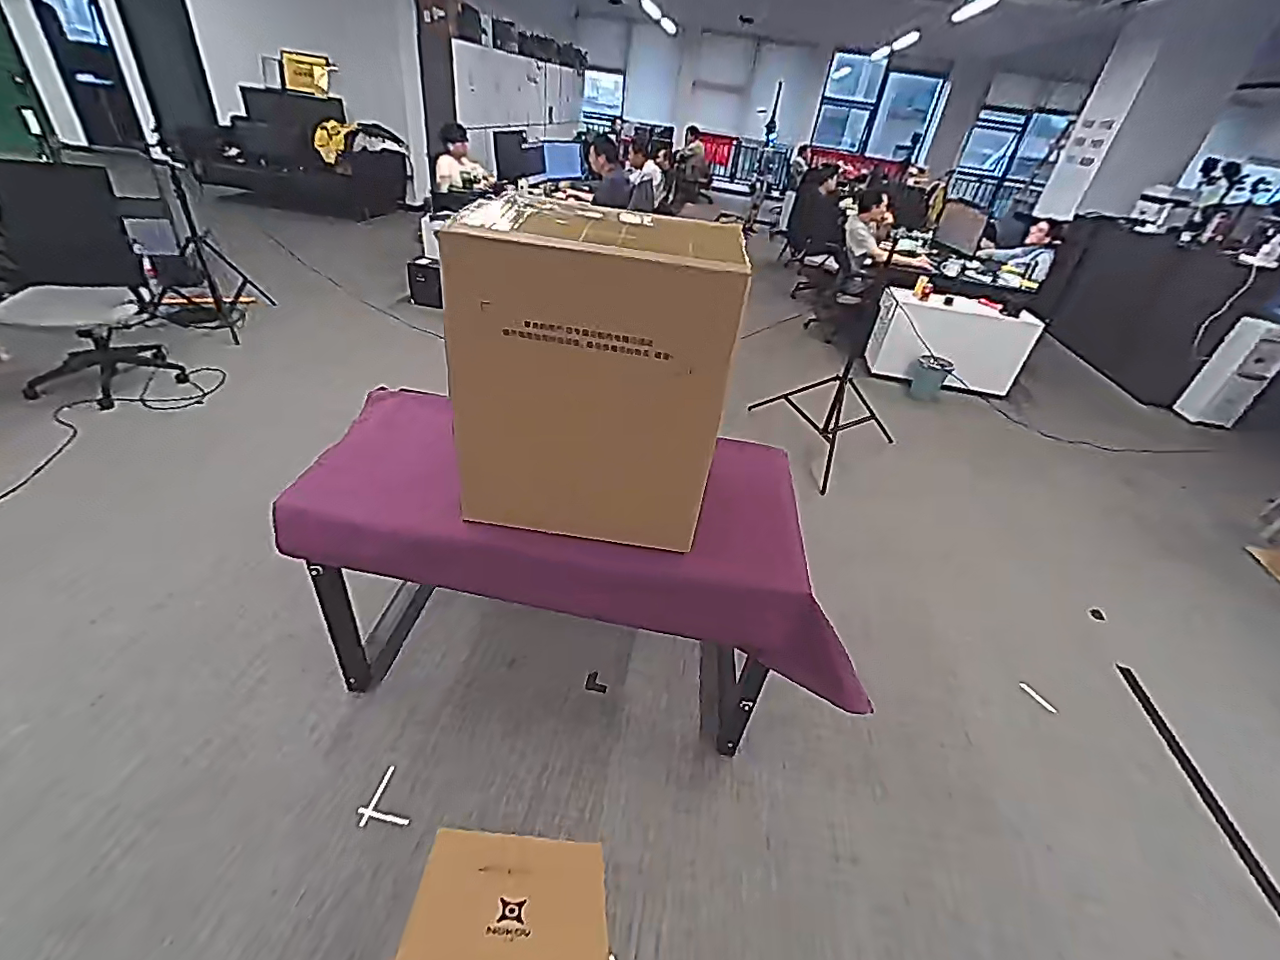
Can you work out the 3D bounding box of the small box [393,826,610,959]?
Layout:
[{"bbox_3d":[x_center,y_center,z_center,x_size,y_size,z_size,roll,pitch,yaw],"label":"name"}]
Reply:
[{"bbox_3d":[-0.123,0.440,0.456,0.168,0.176,0.179,13,4,-8],"label":"small box"}]
